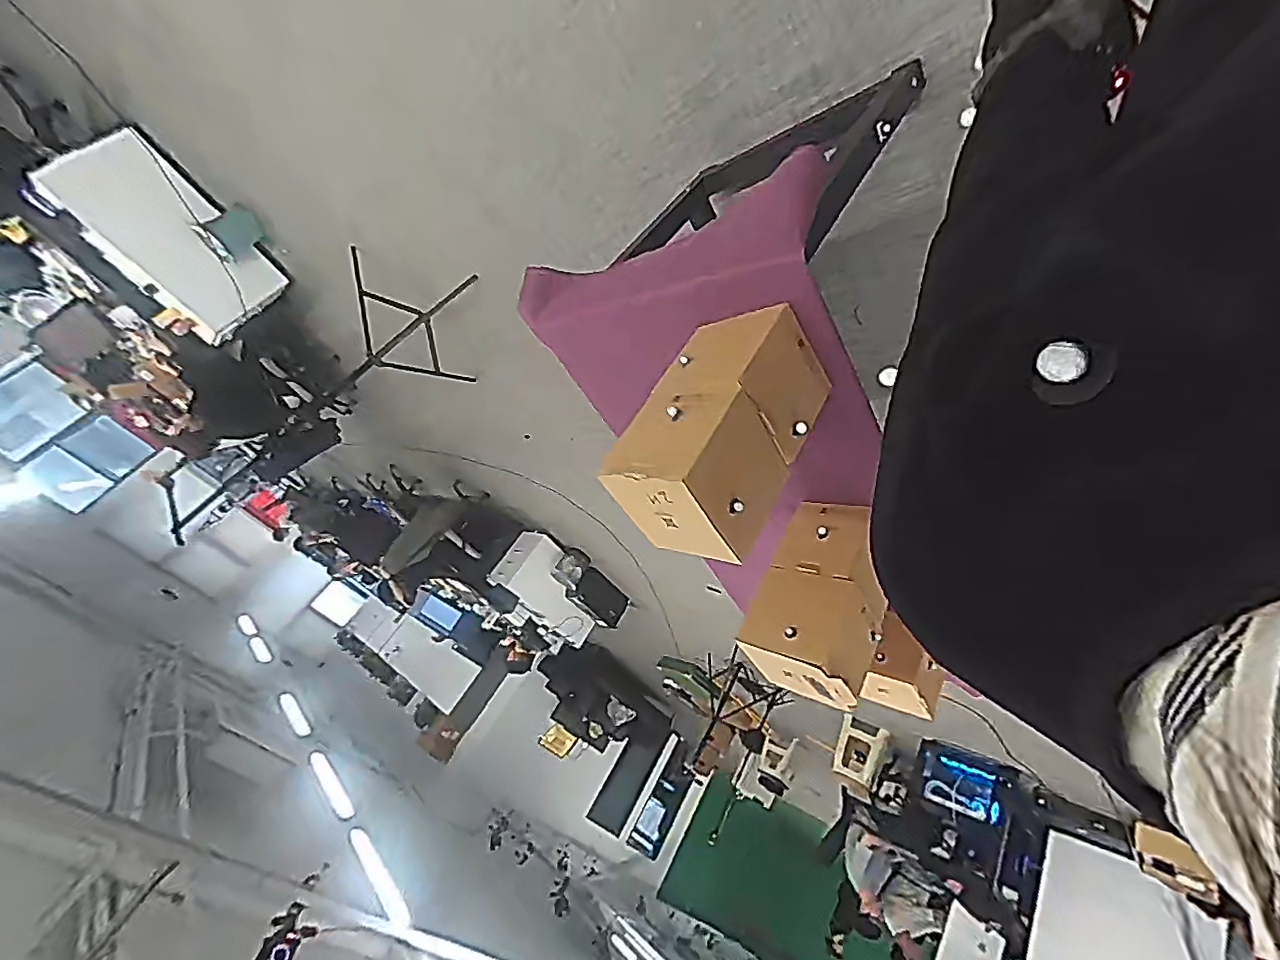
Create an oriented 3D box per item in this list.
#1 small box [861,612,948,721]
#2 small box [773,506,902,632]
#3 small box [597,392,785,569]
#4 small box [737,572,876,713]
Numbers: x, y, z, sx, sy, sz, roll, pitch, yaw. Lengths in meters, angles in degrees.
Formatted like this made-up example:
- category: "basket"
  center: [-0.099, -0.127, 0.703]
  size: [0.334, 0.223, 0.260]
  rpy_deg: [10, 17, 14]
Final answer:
- category: "small box"
  center: [0.600, 0.424, 1.267]
  size: [0.179, 0.176, 0.168]
  rpy_deg: [4, 139, 48]
- category: "small box"
  center: [0.395, 0.168, 1.071]
  size: [0.168, 0.176, 0.179]
  rpy_deg: [3, 139, 46]
- category: "small box"
  center: [0.080, -0.004, 0.766]
  size: [0.168, 0.176, 0.179]
  rpy_deg: [5, 142, 46]
- category: "small box"
  center: [0.314, 0.289, 0.992]
  size: [0.179, 0.176, 0.168]
  rpy_deg: [4, 141, 47]
